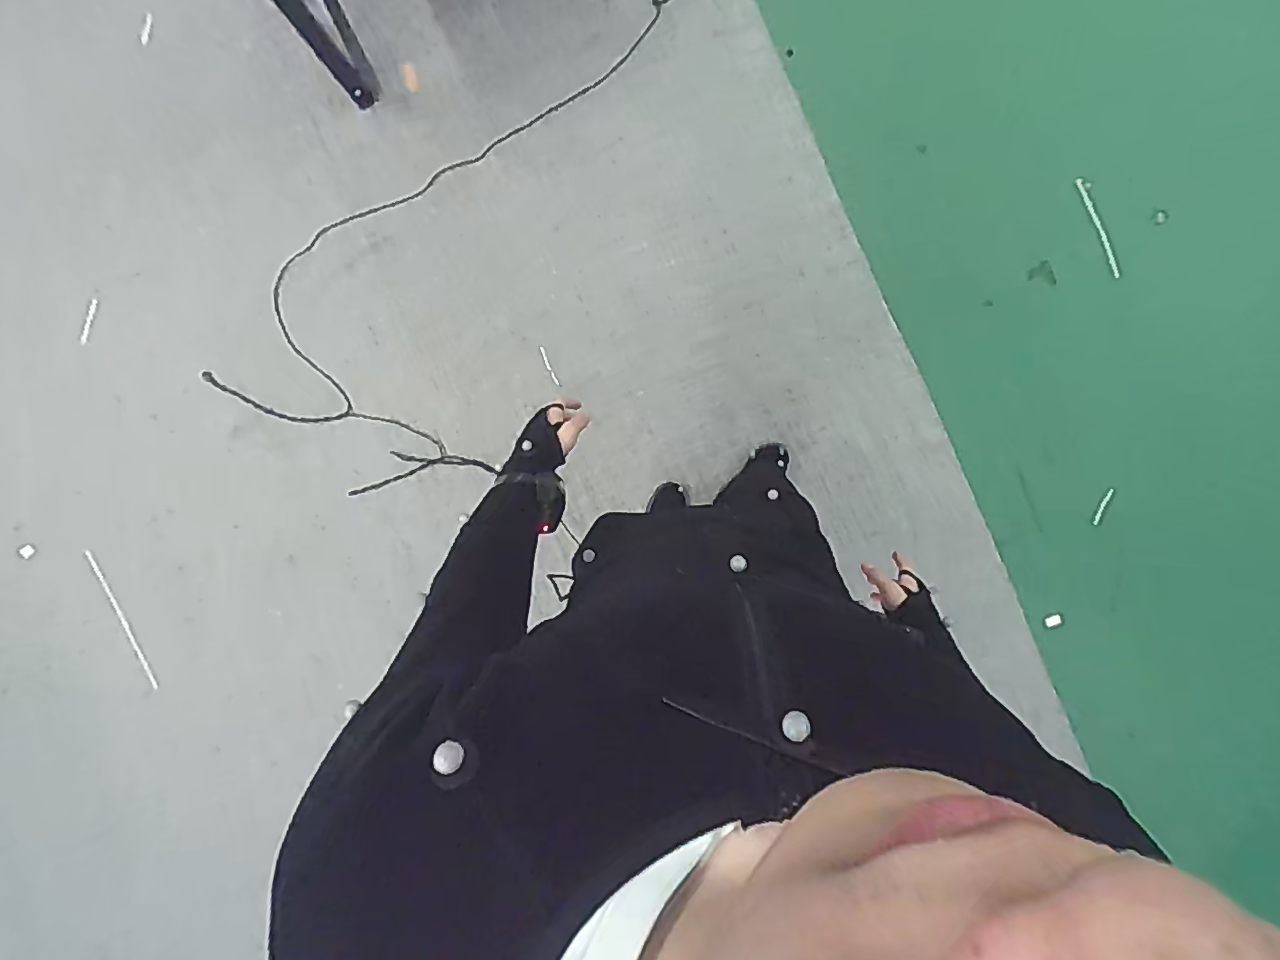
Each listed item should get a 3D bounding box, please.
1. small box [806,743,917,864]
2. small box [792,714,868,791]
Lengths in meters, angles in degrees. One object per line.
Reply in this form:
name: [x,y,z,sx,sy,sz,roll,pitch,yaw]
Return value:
small box: [0.535,0.781,1.332,0.168,0.176,0.179,-24,91,1]
small box: [0.541,0.776,1.494,0.168,0.176,0.179,-23,91,2]
